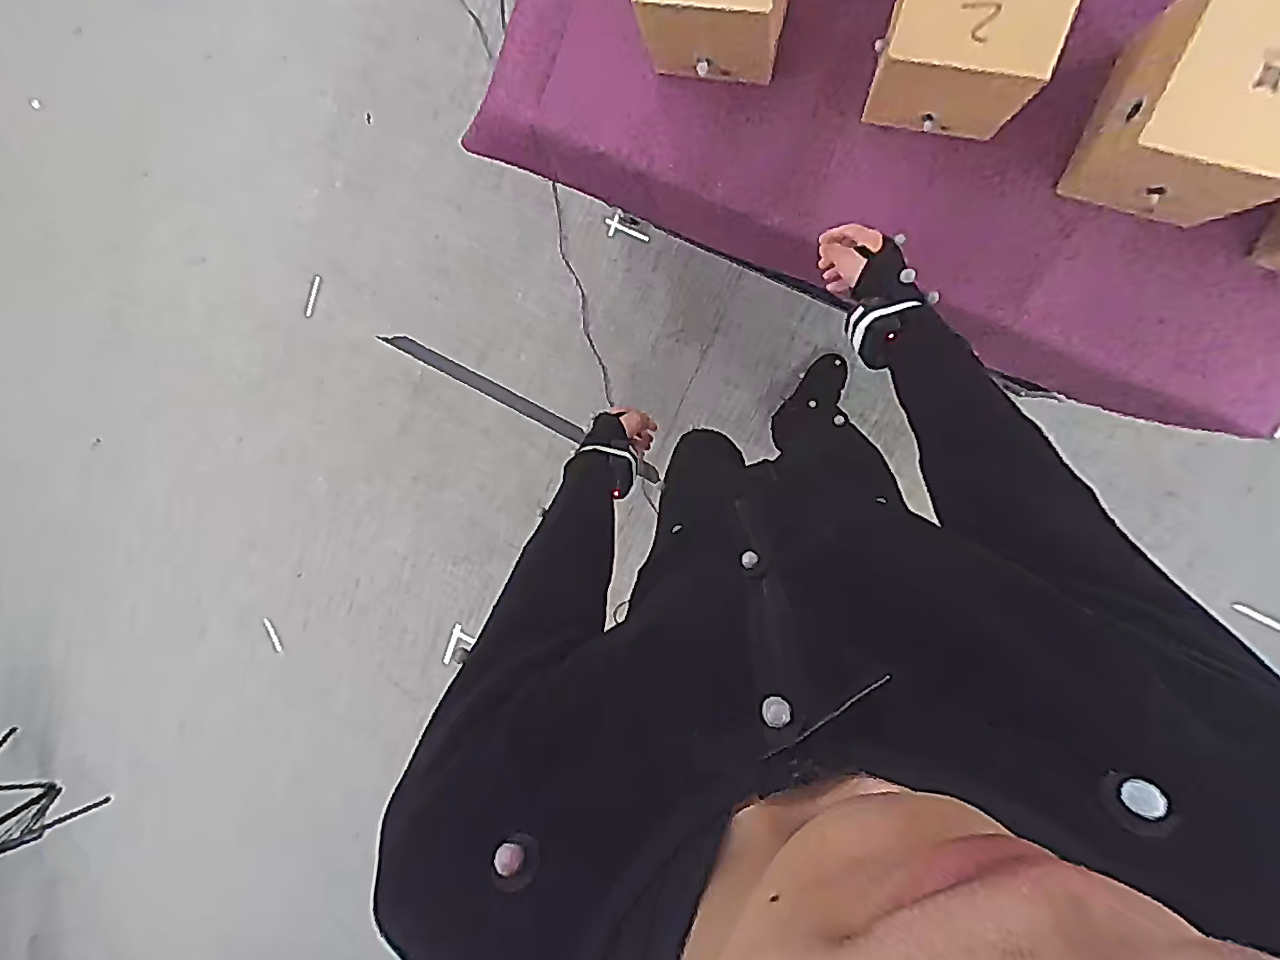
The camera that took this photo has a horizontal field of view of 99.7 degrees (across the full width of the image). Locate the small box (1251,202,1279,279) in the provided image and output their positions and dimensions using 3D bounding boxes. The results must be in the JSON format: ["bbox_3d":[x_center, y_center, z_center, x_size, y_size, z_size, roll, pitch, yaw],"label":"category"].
[{"bbox_3d":[0.836,-0.302,0.569,0.168,0.176,0.179,23,105,9],"label":"small box"}]

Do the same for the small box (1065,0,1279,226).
[{"bbox_3d":[0.622,-0.405,0.597,0.168,0.176,0.179,21,105,8],"label":"small box"}]

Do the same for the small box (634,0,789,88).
[{"bbox_3d":[0.100,-0.631,0.668,0.168,0.176,0.179,14,105,10],"label":"small box"}]
